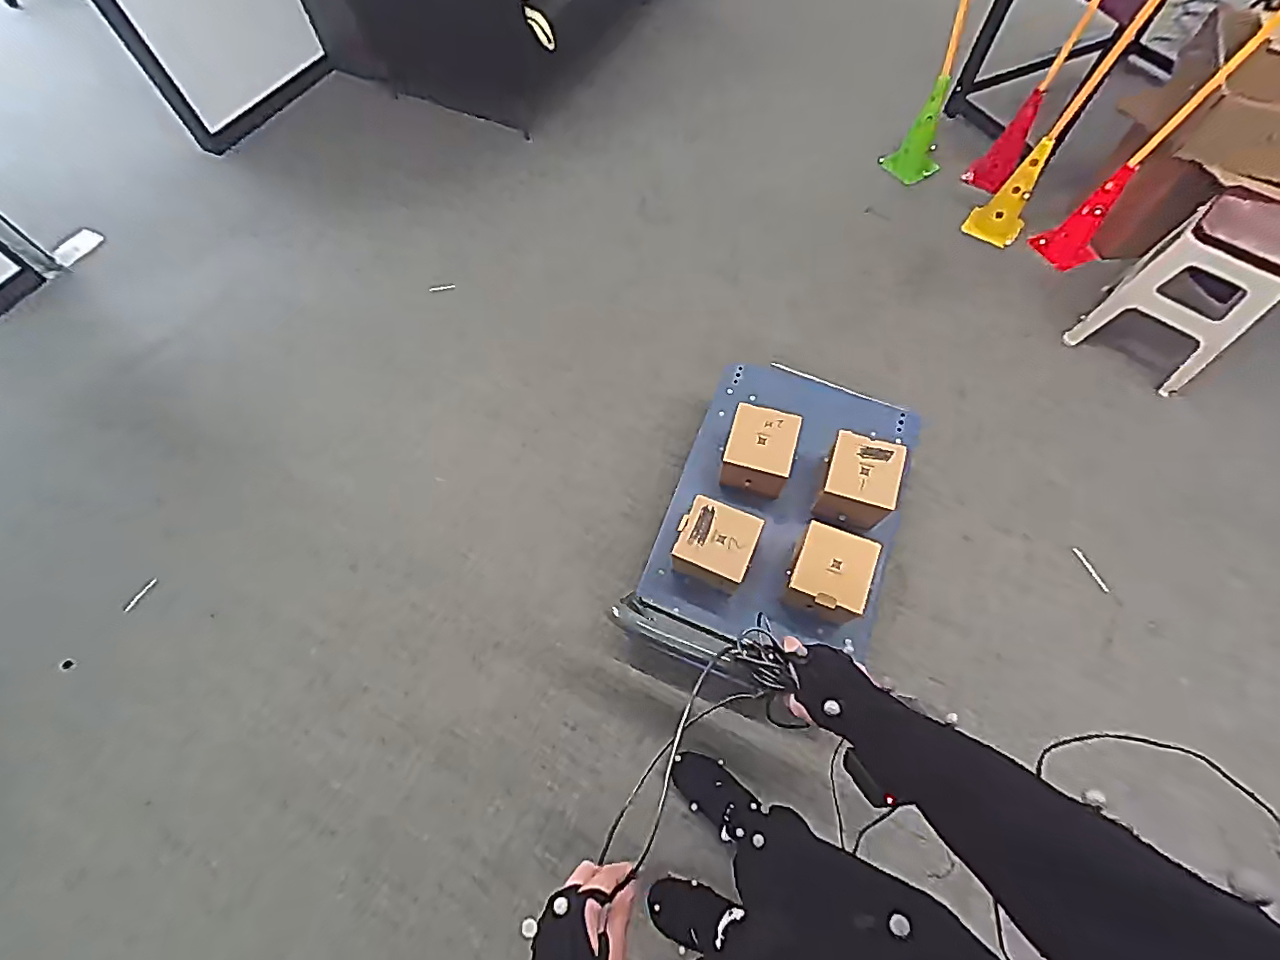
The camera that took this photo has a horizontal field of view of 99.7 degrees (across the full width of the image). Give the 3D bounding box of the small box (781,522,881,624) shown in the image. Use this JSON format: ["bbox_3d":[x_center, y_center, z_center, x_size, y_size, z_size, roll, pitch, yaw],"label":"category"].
[{"bbox_3d":[0.452,0.229,1.301,0.168,0.176,0.179,20,72,12],"label":"small box"}]

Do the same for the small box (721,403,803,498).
[{"bbox_3d":[0.315,-0.071,1.427,0.168,0.176,0.179,16,70,9],"label":"small box"}]

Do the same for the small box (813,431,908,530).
[{"bbox_3d":[0.555,0.006,1.380,0.168,0.176,0.179,17,71,11],"label":"small box"}]
